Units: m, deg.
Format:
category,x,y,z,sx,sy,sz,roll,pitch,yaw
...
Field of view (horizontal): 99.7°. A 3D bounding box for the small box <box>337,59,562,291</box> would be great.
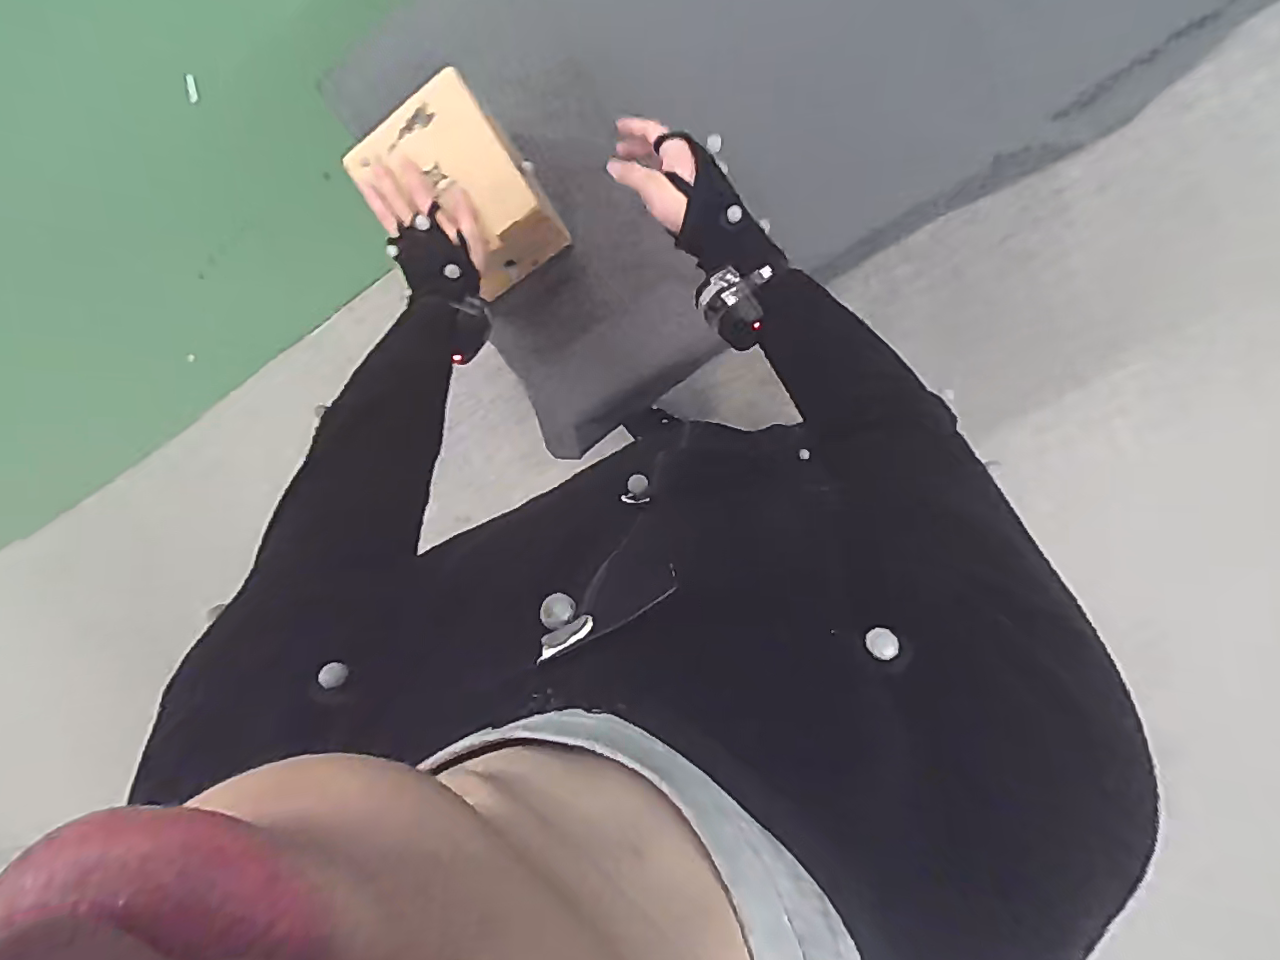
category,x,y,z,sx,sy,sz,roll,pitch,yaw
small box,-0.220,-0.357,0.680,0.168,0.176,0.179,-32,98,10
